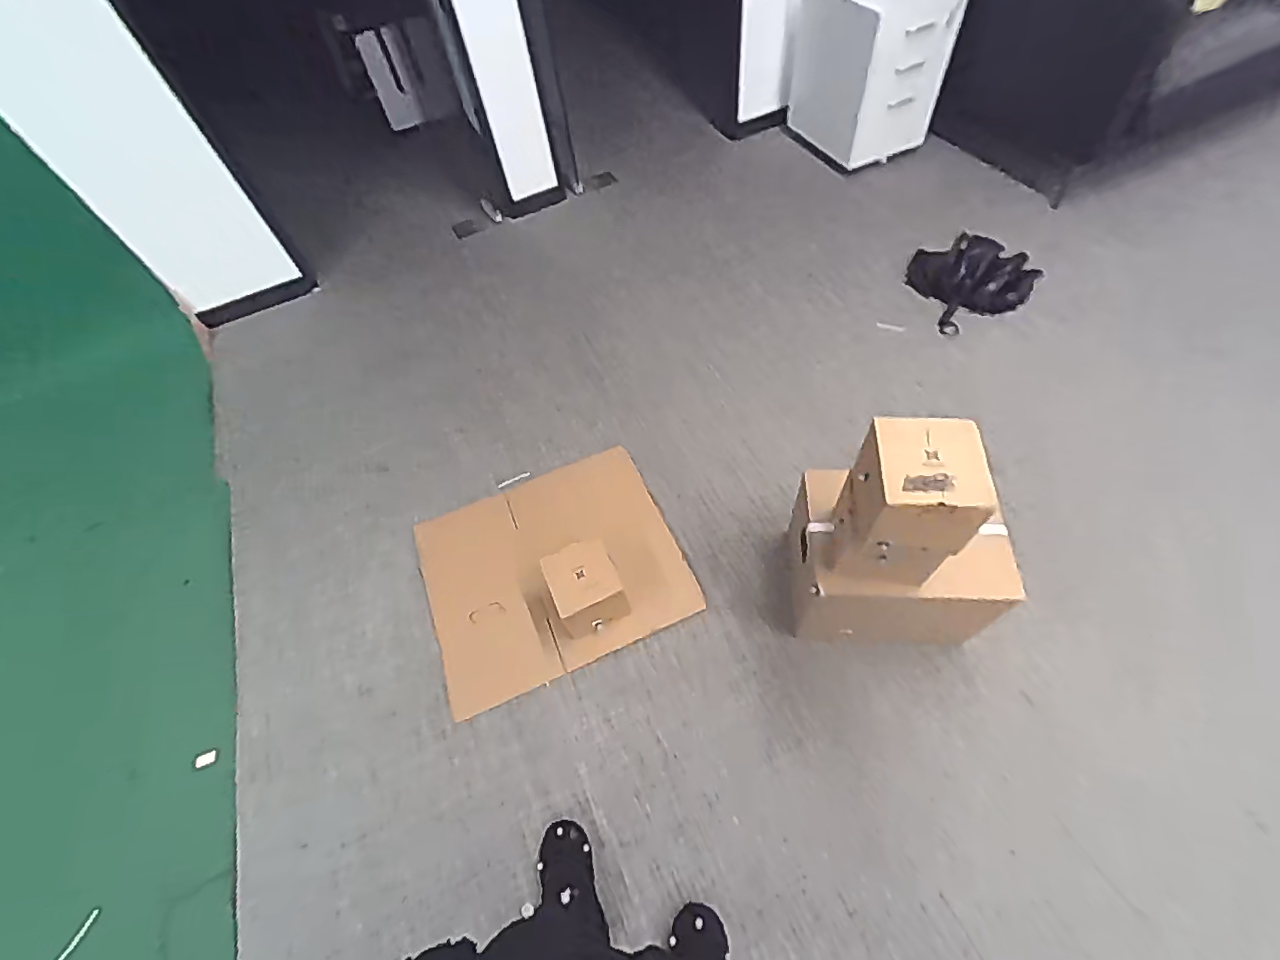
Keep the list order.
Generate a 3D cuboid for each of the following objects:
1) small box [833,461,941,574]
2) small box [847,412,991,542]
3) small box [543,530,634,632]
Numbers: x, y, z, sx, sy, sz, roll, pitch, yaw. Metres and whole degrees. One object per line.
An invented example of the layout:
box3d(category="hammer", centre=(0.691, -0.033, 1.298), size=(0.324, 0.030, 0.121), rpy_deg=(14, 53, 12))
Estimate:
box3d(category="small box", centre=(0.494, 0.079, 1.094), size=(0.179, 0.176, 0.168), rpy_deg=(4, 57, 9))
box3d(category="small box", centre=(0.472, 0.001, 0.947), size=(0.168, 0.176, 0.179), rpy_deg=(-1, 59, 7))
box3d(category="small box", centre=(-0.129, 0.266, 1.403), size=(0.168, 0.176, 0.179), rpy_deg=(-26, 58, -7))
